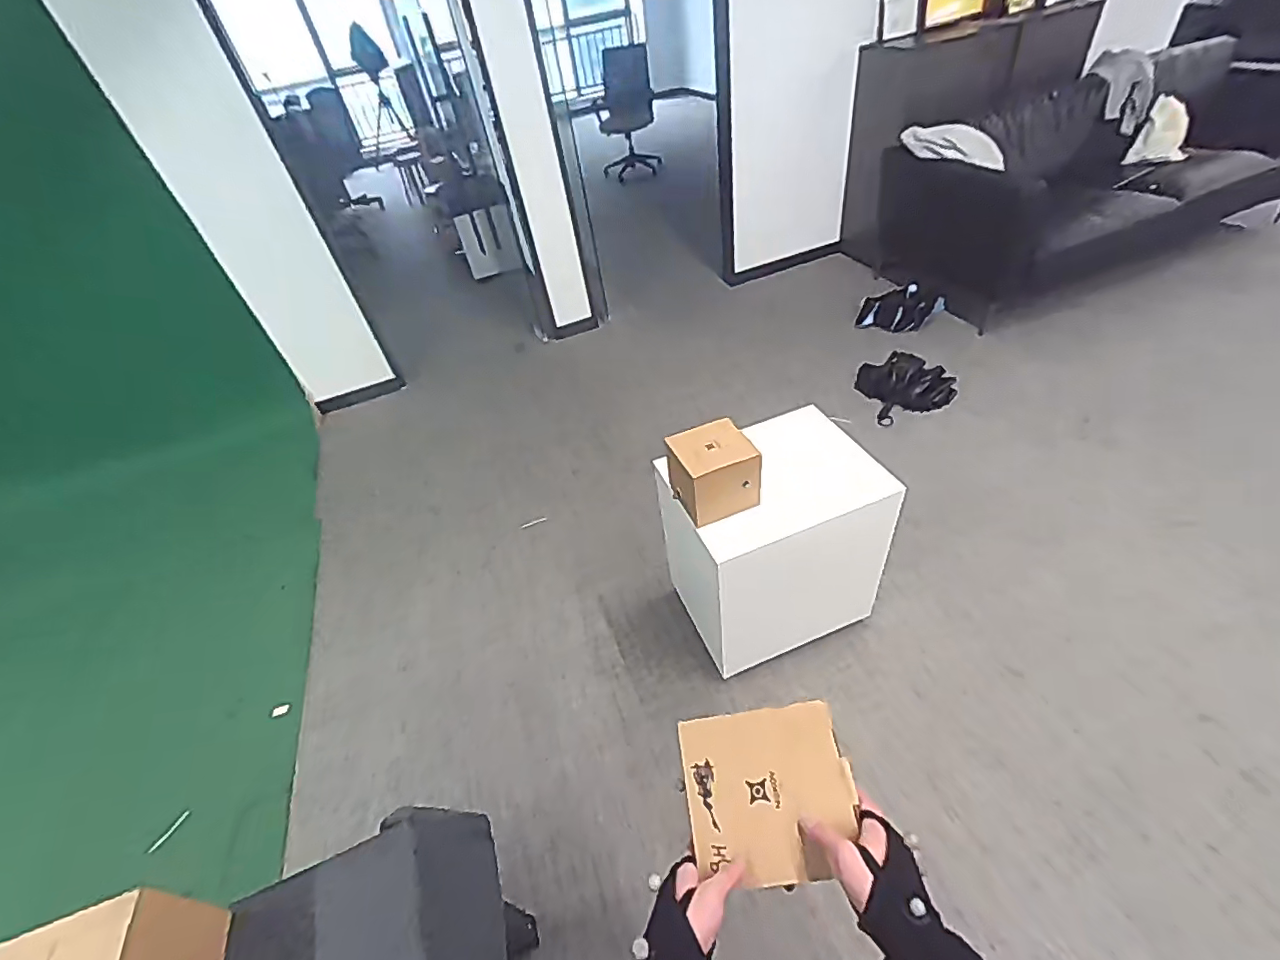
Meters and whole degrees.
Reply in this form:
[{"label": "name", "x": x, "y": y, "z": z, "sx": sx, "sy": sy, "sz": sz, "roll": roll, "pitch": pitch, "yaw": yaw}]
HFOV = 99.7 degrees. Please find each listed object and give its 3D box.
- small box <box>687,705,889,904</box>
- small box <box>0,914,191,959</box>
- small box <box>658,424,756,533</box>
[{"label": "small box", "x": 0.158, "y": 0.372, "z": 0.629, "sx": 0.179, "sy": 0.176, "sz": 0.168, "roll": -11, "pitch": 56, "yaw": 5}, {"label": "small box", "x": -0.610, "y": 0.593, "z": 0.550, "sx": 0.168, "sy": 0.176, "sz": 0.179, "roll": -18, "pitch": 43, "yaw": -12}, {"label": "small box", "x": 0.158, "y": -0.004, "z": 1.299, "sx": 0.179, "sy": 0.176, "sz": 0.168, "roll": -20, "pitch": 42, "yaw": -14}]
